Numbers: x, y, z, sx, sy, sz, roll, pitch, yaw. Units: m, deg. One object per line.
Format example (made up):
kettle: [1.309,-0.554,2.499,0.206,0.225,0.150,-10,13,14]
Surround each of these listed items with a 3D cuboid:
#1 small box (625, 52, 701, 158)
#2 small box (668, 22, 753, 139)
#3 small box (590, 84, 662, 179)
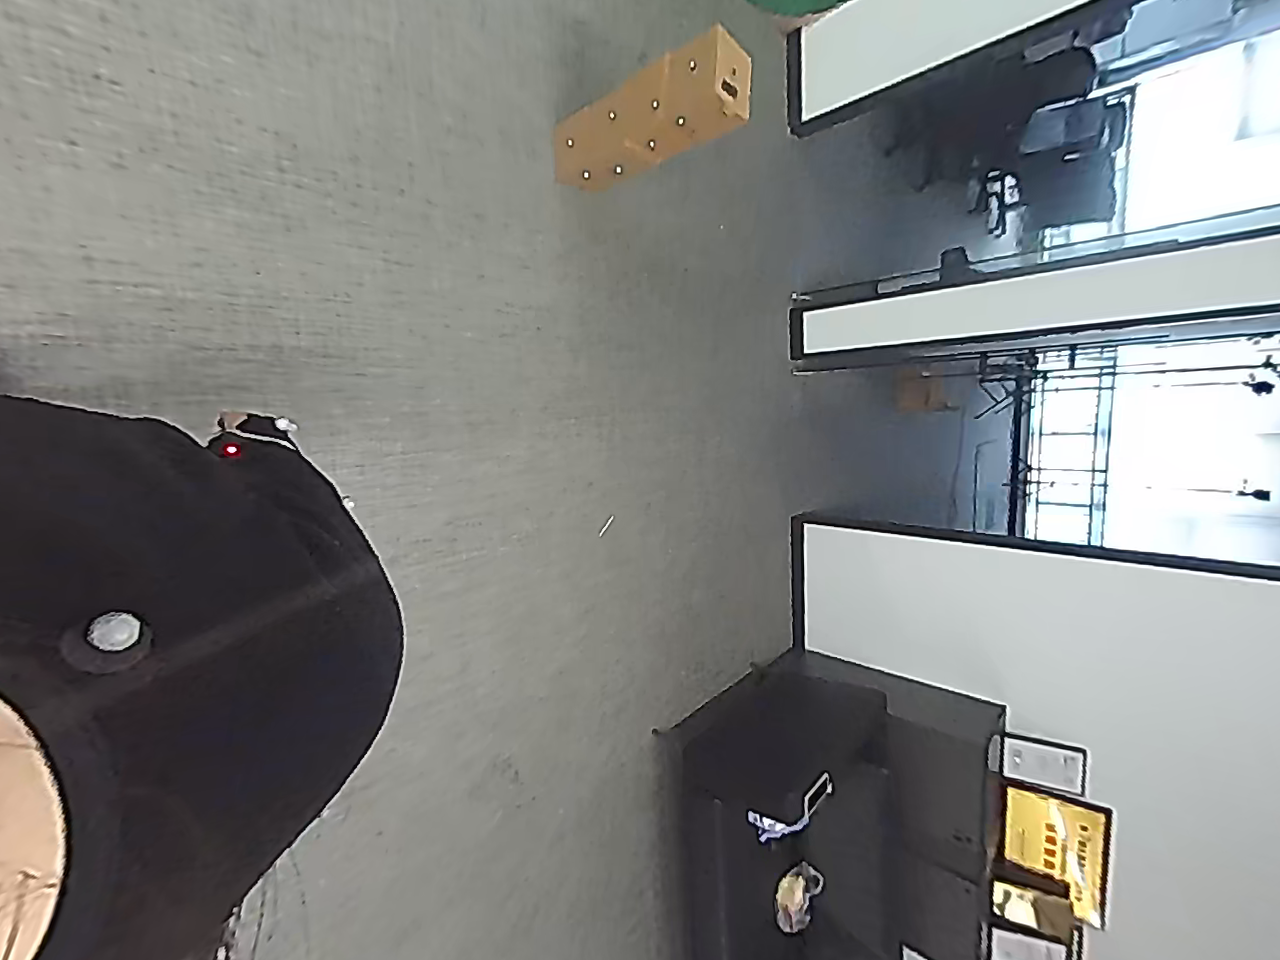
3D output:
small box: [0.071,-1.102,1.607,0.168,0.176,0.179,-2,96,-46]
small box: [0.192,-1.090,1.496,0.168,0.176,0.179,1,92,-47]
small box: [-0.046,-1.099,1.721,0.168,0.176,0.179,-6,98,-45]
